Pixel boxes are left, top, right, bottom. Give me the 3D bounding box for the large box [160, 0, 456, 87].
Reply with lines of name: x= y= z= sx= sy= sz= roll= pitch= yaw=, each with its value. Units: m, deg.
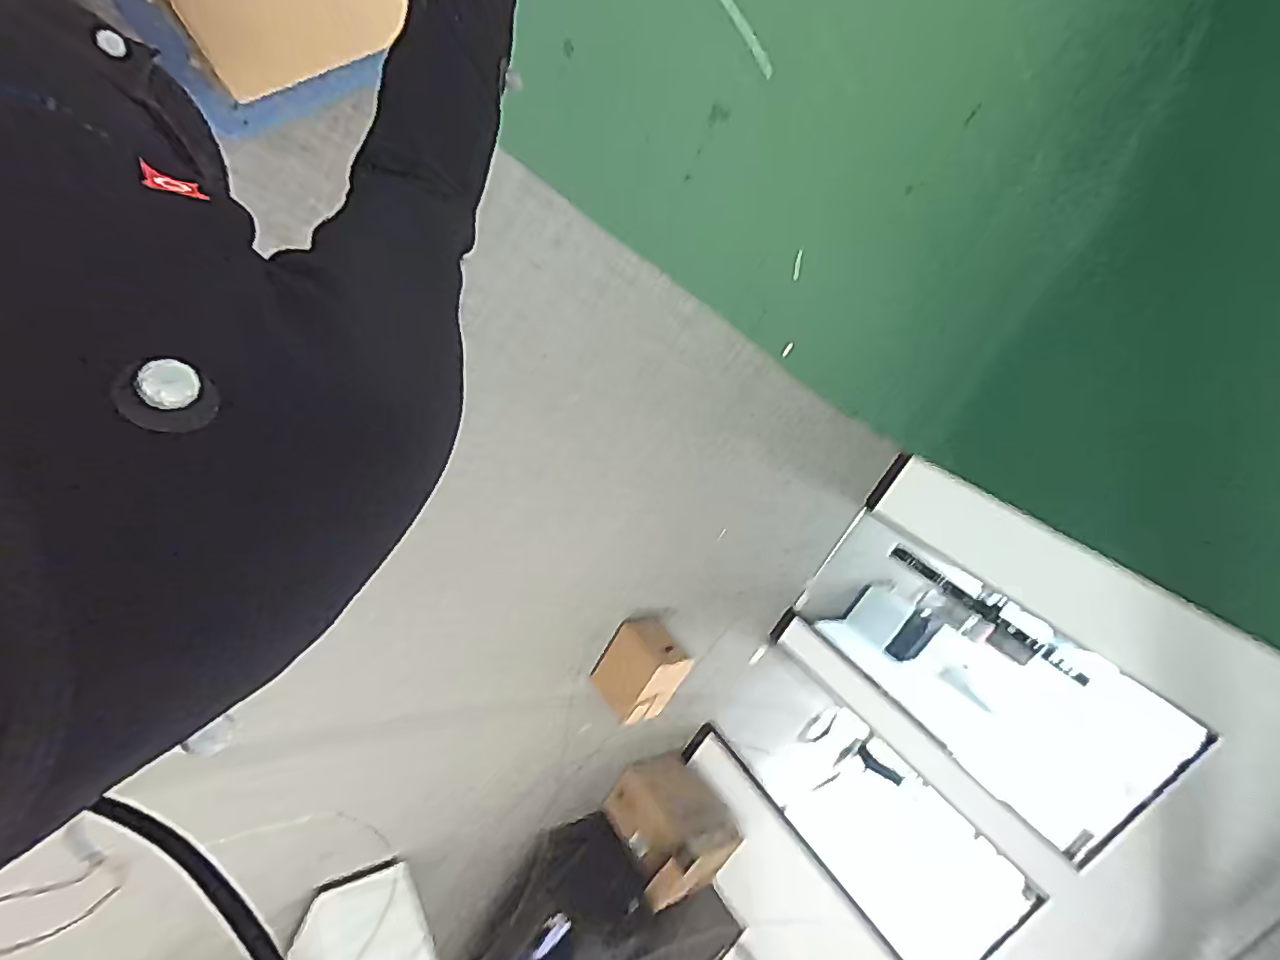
large box: x=-0.474 y=-0.770 z=0.707 sx=0.408 sy=0.320 sz=0.320 roll=-36 pitch=138 yaw=-15
